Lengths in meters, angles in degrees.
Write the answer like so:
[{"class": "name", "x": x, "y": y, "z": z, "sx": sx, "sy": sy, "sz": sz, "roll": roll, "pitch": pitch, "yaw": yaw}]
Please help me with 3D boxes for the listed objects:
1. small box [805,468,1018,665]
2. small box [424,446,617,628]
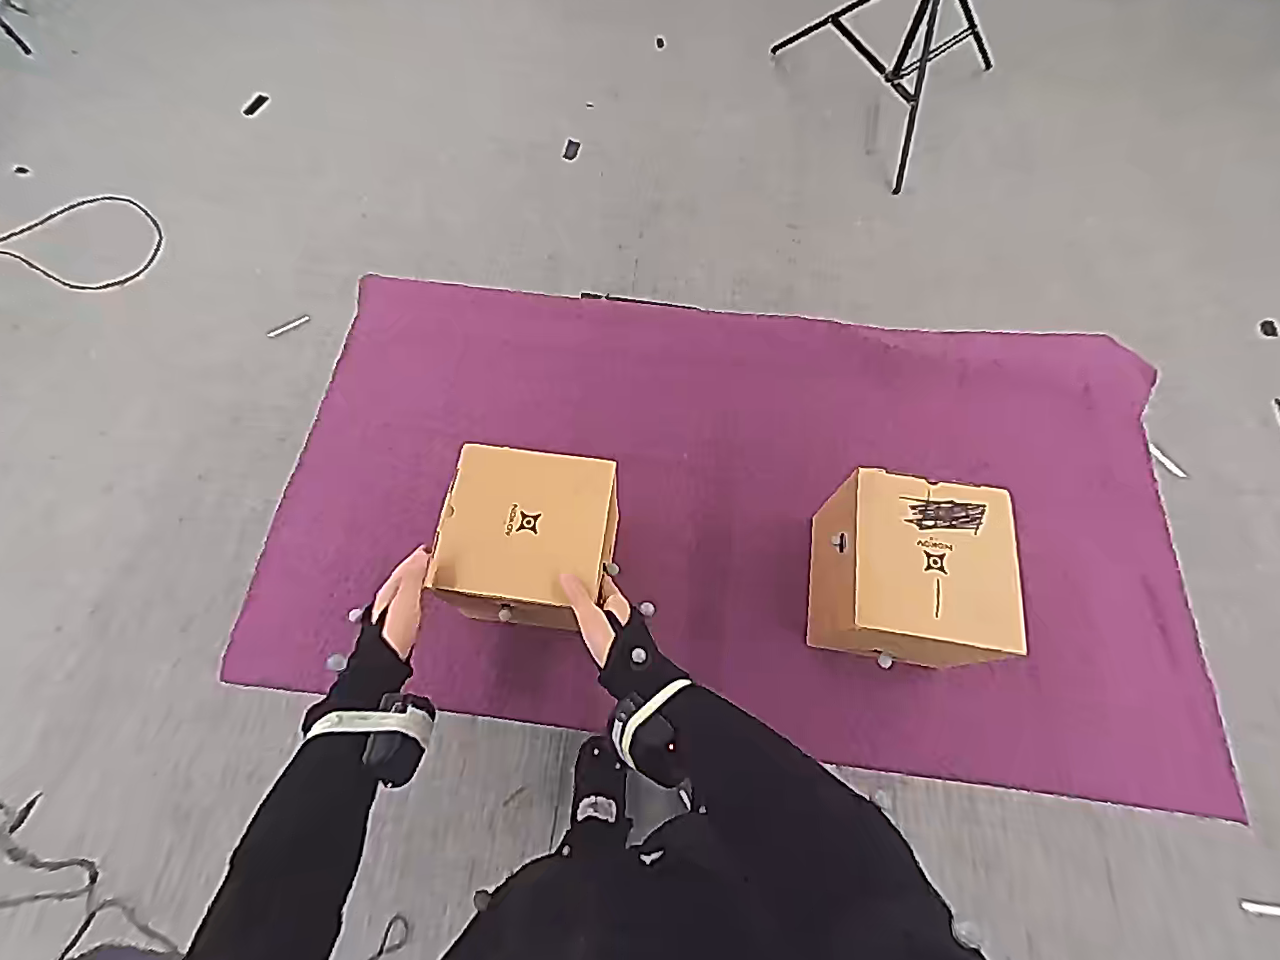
[{"class": "small box", "x": 0.300, "y": 0.109, "z": 0.634, "sx": 0.168, "sy": 0.176, "sz": 0.179, "roll": 9, "pitch": 67, "yaw": 4}, {"class": "small box", "x": -0.124, "y": 0.077, "z": 0.647, "sx": 0.179, "sy": 0.176, "sz": 0.168, "roll": 6, "pitch": 67, "yaw": 3}]
